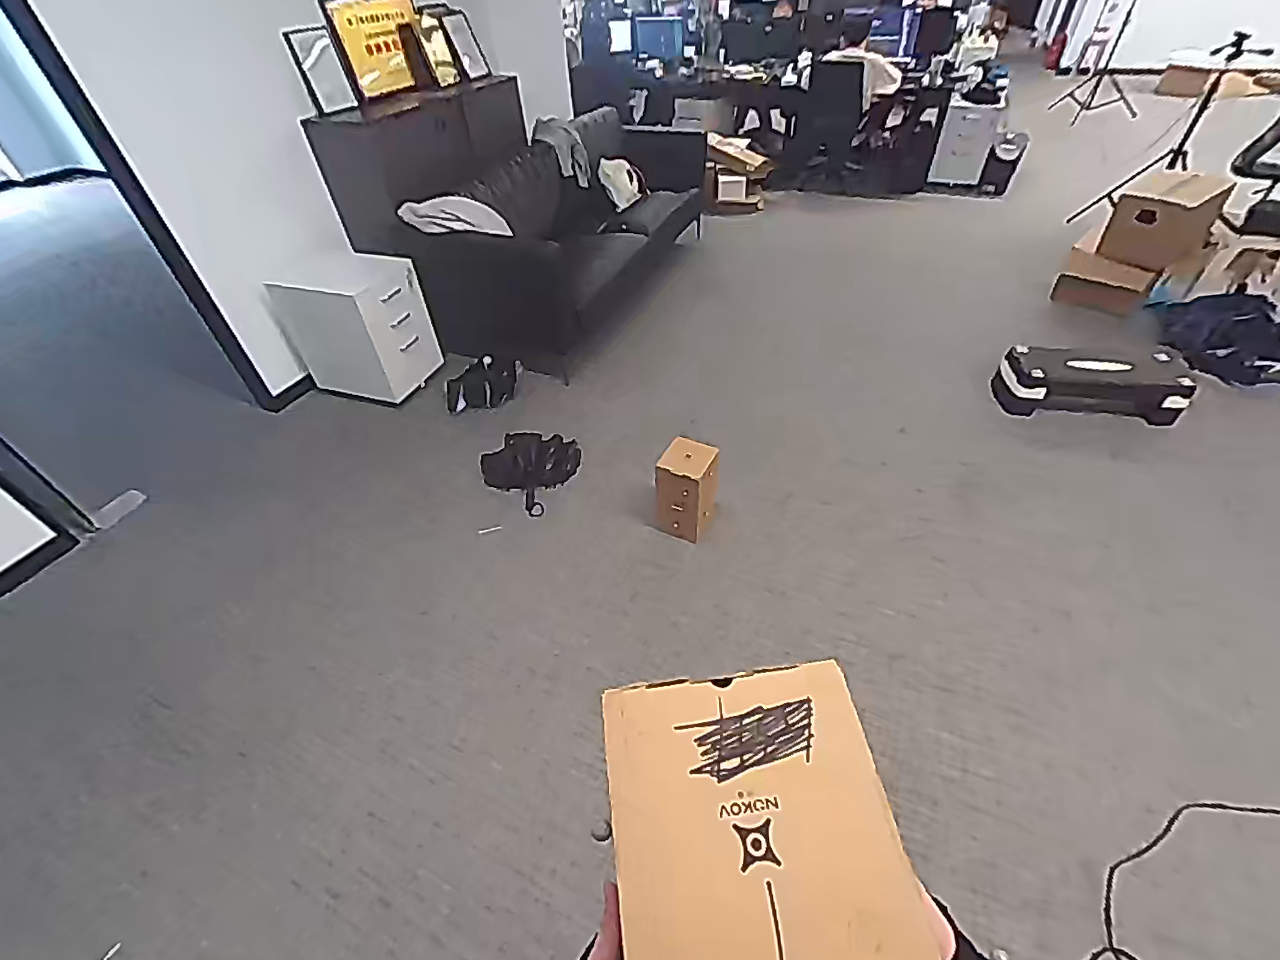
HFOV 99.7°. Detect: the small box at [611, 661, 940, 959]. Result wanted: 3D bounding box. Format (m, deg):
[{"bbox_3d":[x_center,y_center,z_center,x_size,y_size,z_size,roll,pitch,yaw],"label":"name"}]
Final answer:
[{"bbox_3d":[0.067,0.248,0.385,0.168,0.176,0.179,-6,55,-5],"label":"small box"}]
